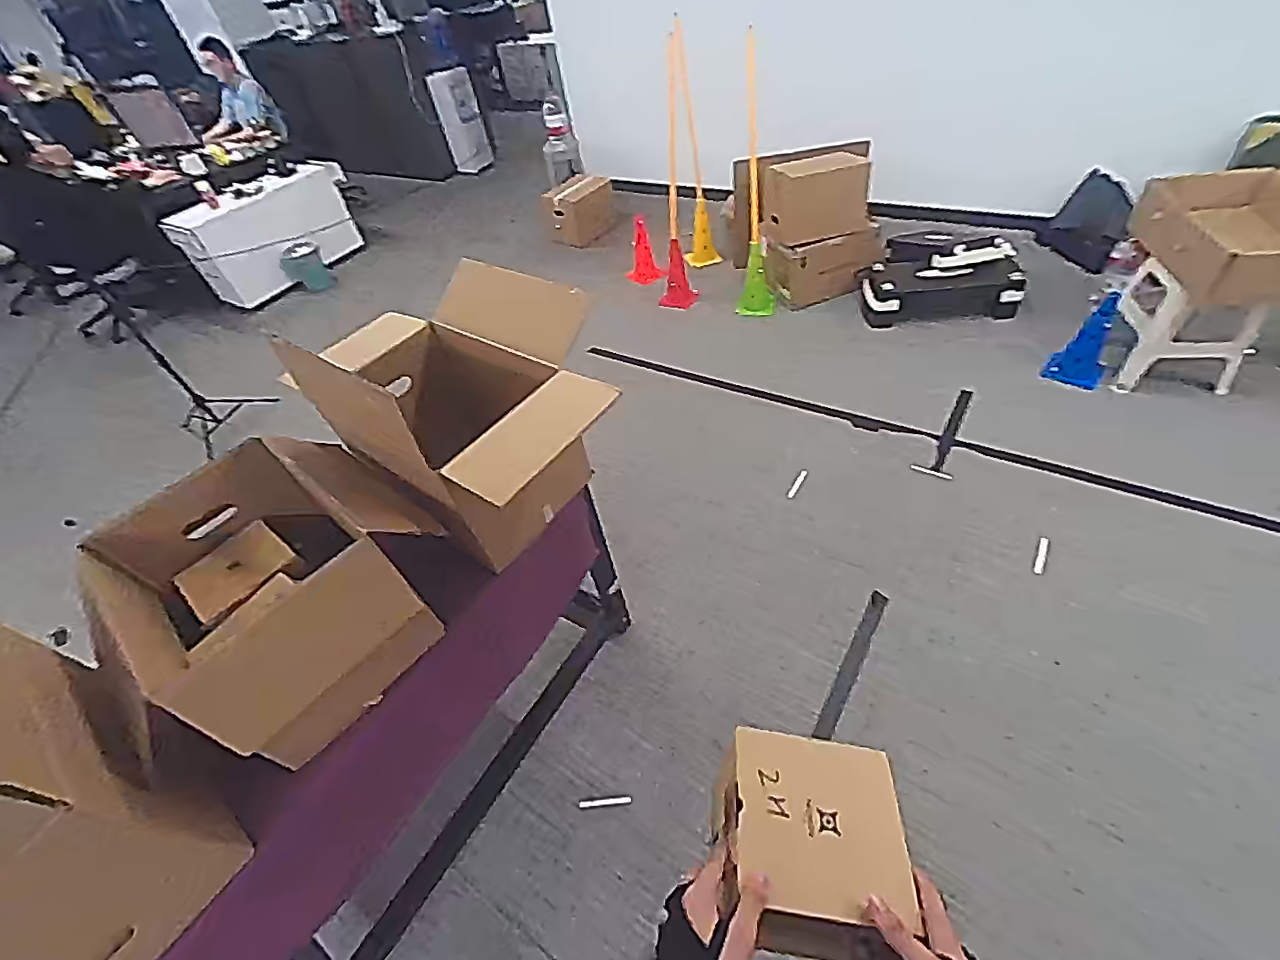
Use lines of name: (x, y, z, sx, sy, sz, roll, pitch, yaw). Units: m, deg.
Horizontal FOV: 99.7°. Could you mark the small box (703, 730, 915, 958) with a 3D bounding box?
small box: (0.172, 0.411, 0.609, 0.179, 0.176, 0.168, 7, 41, 3)
